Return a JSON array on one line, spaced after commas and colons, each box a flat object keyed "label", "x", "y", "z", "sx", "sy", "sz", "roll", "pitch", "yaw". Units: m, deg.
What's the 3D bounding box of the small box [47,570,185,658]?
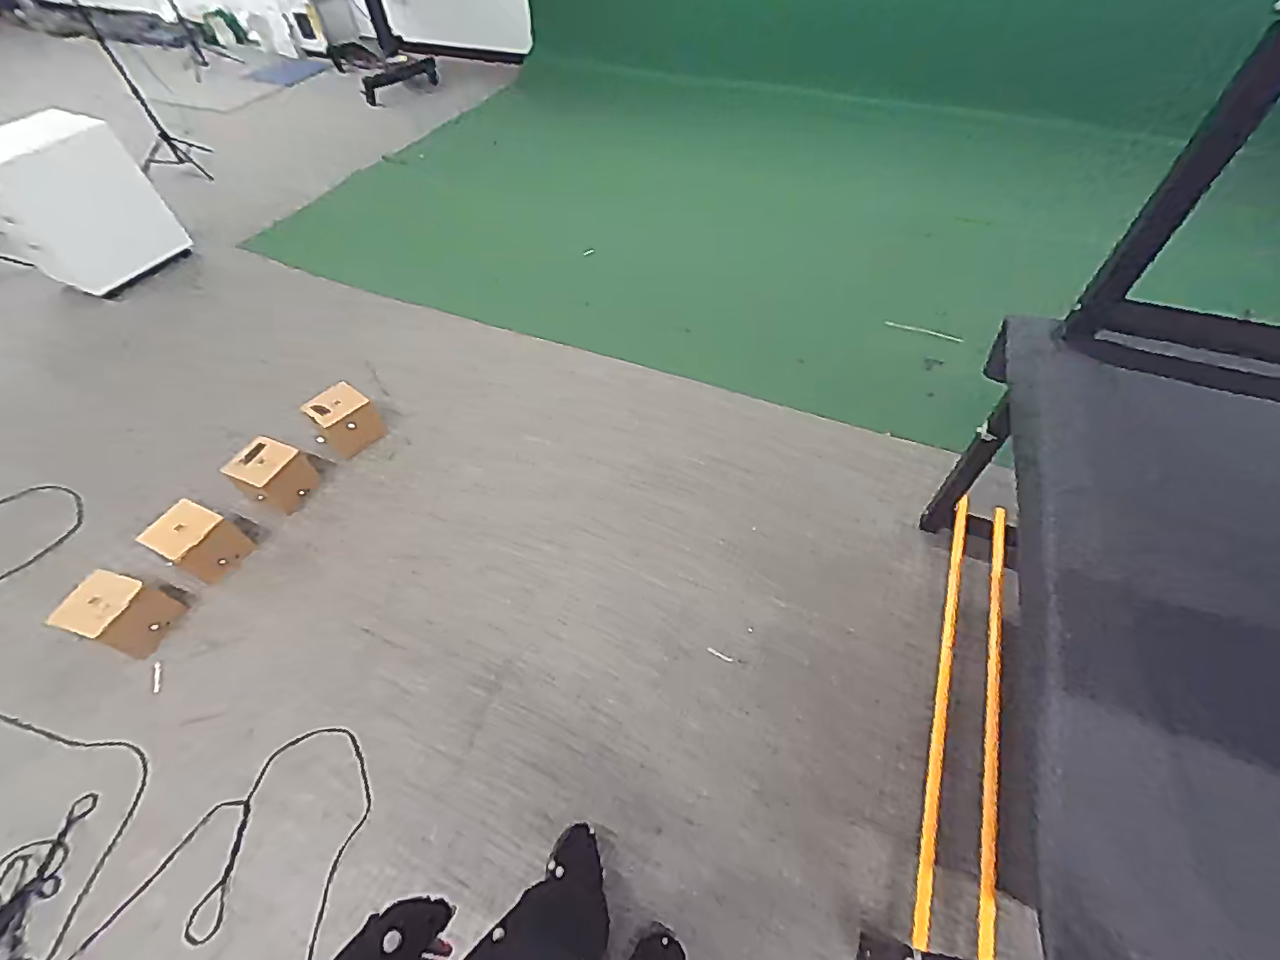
[{"label": "small box", "x": -1.440, "y": 0.375, "z": 1.499, "sx": 0.179, "sy": 0.176, "sz": 0.168, "roll": 12, "pitch": 55, "yaw": 11}]

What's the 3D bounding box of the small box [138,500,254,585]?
[{"label": "small box", "x": -1.335, "y": 0.193, "z": 1.639, "sx": 0.179, "sy": 0.176, "sz": 0.168, "roll": 19, "pitch": 55, "yaw": 15}]

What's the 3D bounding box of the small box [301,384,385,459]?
[{"label": "small box", "x": -1.056, "y": -0.206, "z": 1.936, "sx": 0.168, "sy": 0.176, "sz": 0.179, "roll": 32, "pitch": 58, "yaw": 23}]
